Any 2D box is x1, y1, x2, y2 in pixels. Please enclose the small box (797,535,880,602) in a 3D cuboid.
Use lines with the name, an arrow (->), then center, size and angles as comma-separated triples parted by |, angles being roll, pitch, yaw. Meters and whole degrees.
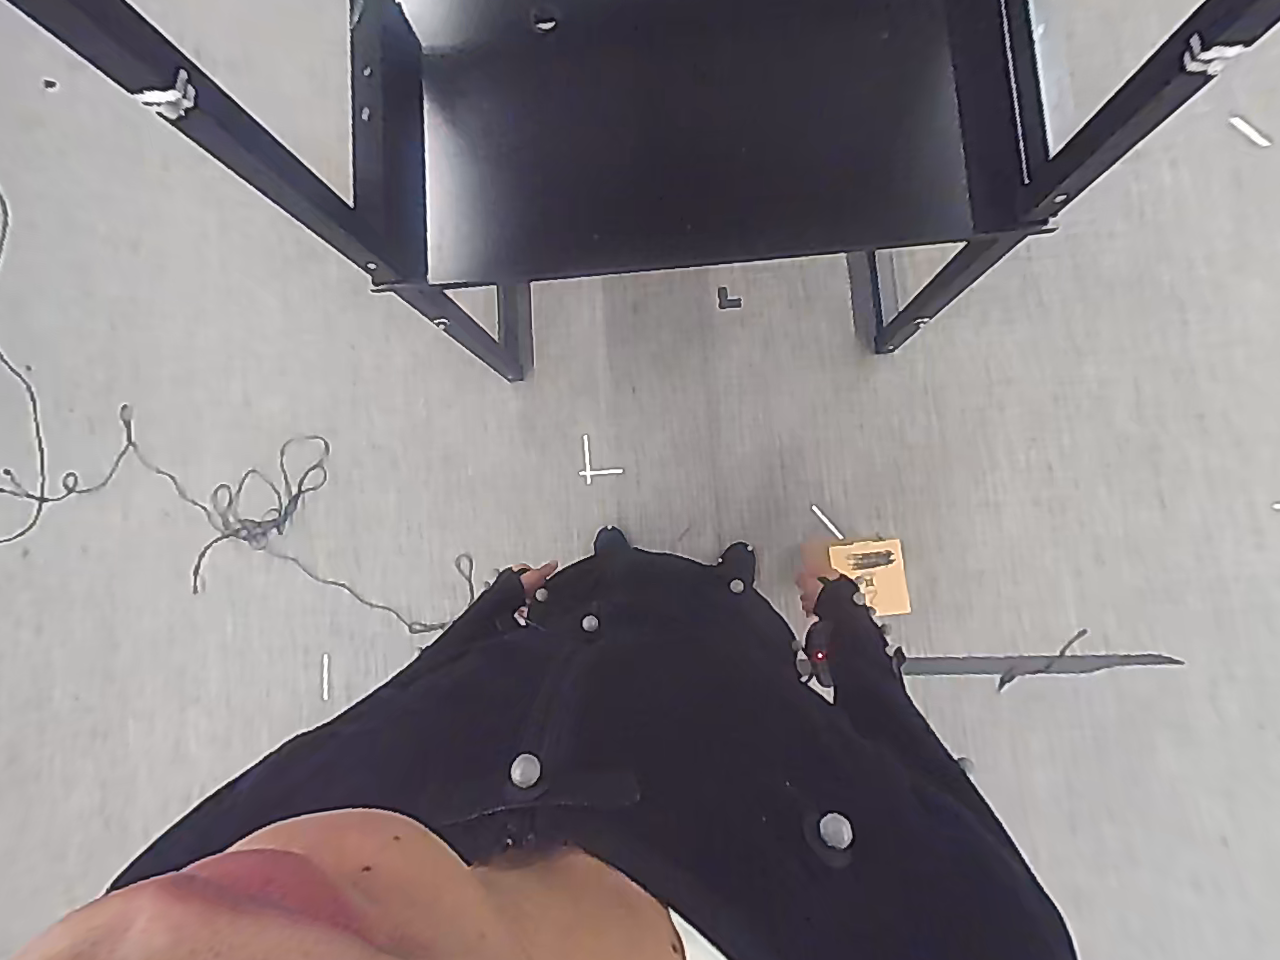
small box -> 0.550, 0.244, 1.513 | 0.179, 0.176, 0.168 | -4, 85, 5
